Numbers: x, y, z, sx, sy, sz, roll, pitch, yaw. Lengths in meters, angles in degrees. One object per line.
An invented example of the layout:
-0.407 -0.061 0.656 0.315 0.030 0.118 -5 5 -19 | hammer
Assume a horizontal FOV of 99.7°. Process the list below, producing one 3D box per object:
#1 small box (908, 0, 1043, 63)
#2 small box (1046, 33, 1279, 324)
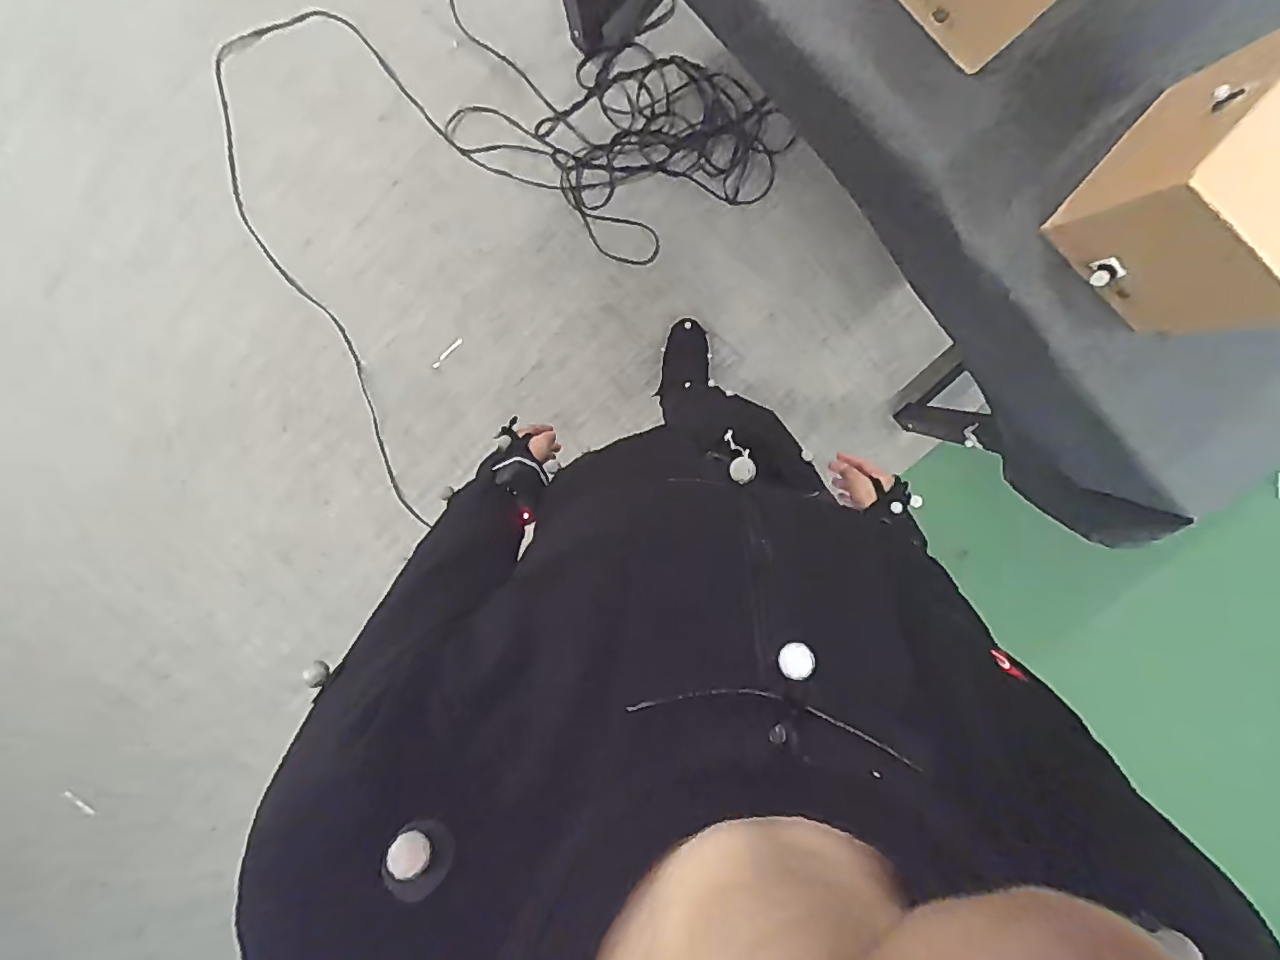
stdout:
0.316 -0.501 0.436 0.168 0.176 0.179 39 99 -8 | small box
0.532 -0.263 0.487 0.168 0.176 0.179 38 100 -6 | small box
